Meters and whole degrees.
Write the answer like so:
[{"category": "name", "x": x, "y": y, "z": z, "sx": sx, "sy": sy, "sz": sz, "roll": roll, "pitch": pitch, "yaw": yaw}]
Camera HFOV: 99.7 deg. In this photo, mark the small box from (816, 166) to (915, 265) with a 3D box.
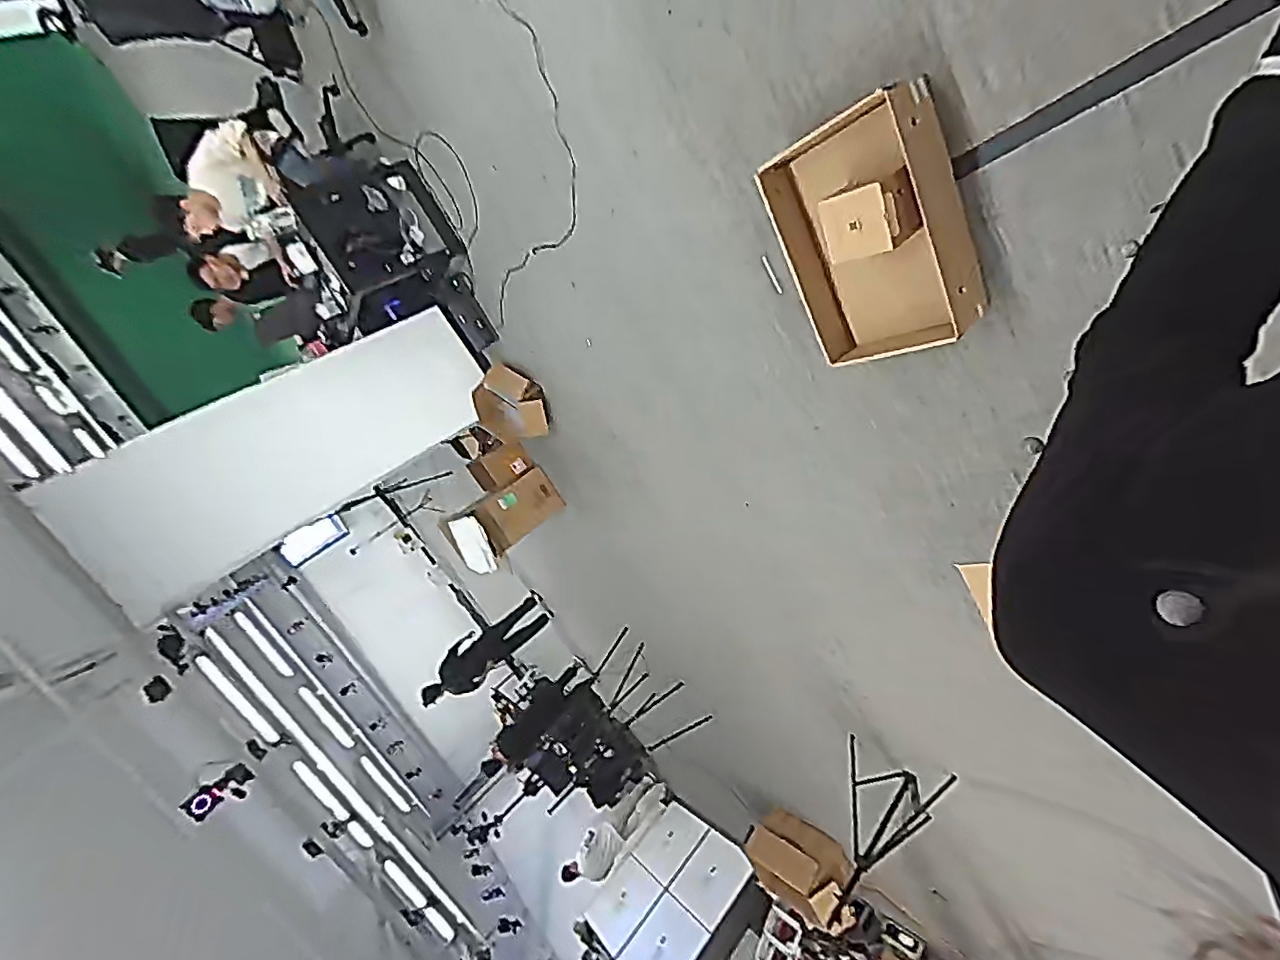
[{"category": "small box", "x": 0.594, "y": -0.687, "z": 1.408, "sx": 0.179, "sy": 0.176, "sz": 0.168, "roll": 9, "pitch": 131, "yaw": 51}]
